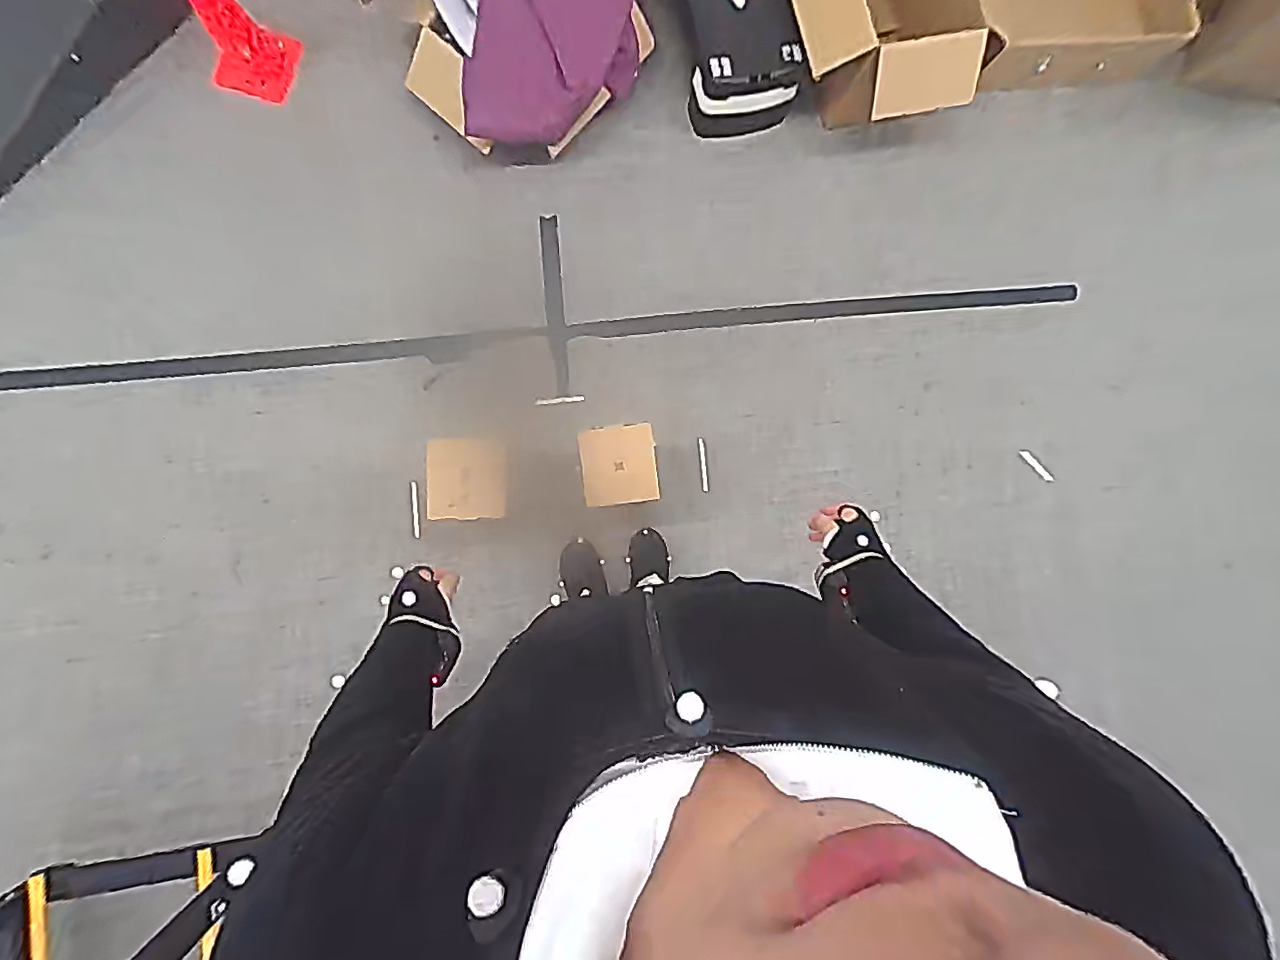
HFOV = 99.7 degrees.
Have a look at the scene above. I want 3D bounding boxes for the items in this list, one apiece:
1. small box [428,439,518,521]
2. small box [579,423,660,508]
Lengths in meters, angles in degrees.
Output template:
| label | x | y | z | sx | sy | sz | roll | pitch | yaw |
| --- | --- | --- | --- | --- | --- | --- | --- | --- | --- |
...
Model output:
| label | x | y | z | sx | sy | sz | roll | pitch | yaw |
| --- | --- | --- | --- | --- | --- | --- | --- | --- | --- |
| small box | -0.377 | 0.004 | 1.242 | 0.168 | 0.176 | 0.179 | -1 | 87 | -4 |
| small box | -0.052 | -0.028 | 1.277 | 0.168 | 0.176 | 0.179 | -8 | 89 | -4 |
